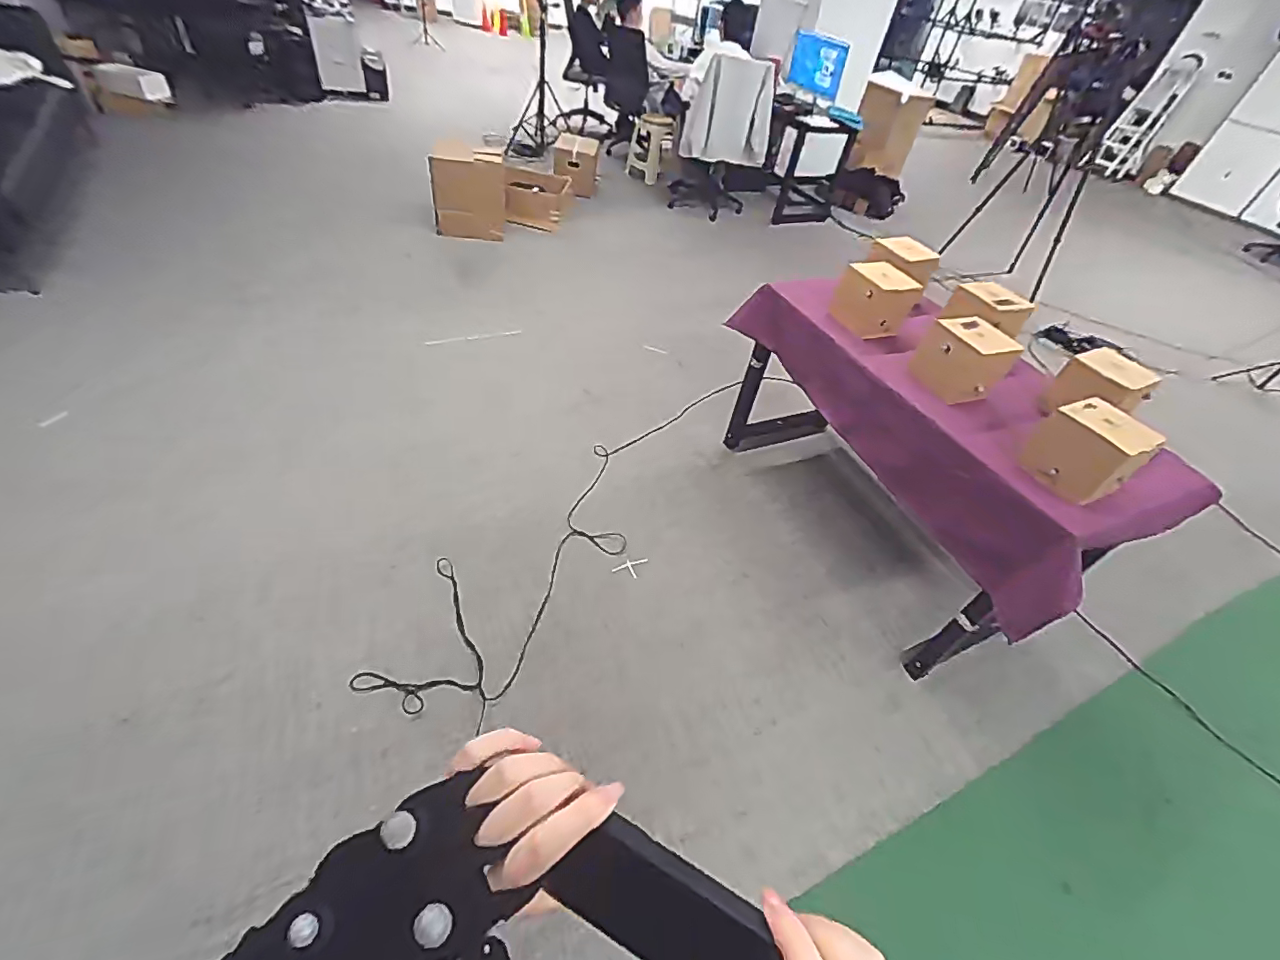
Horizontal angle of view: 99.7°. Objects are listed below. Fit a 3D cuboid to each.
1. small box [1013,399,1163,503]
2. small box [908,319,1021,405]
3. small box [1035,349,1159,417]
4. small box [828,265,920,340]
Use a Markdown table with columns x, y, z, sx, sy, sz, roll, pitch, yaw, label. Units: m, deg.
| x | y | z | sx | sy | sz | roll | pitch | yaw | label |
| --- | --- | --- | --- | --- | --- | --- | --- | --- | --- |
| 1.048 | -0.064 | 1.279 | 0.168 | 0.176 | 0.179 | -14 | 50 | -24 | small box |
| 0.901 | -0.332 | 1.521 | 0.168 | 0.176 | 0.179 | -11 | 49 | -21 | small box |
| 1.253 | -0.237 | 1.497 | 0.179 | 0.176 | 0.168 | -16 | 50 | -25 | small box |
| 0.737 | -0.569 | 1.726 | 0.168 | 0.176 | 0.179 | -12 | 50 | -23 | small box |
